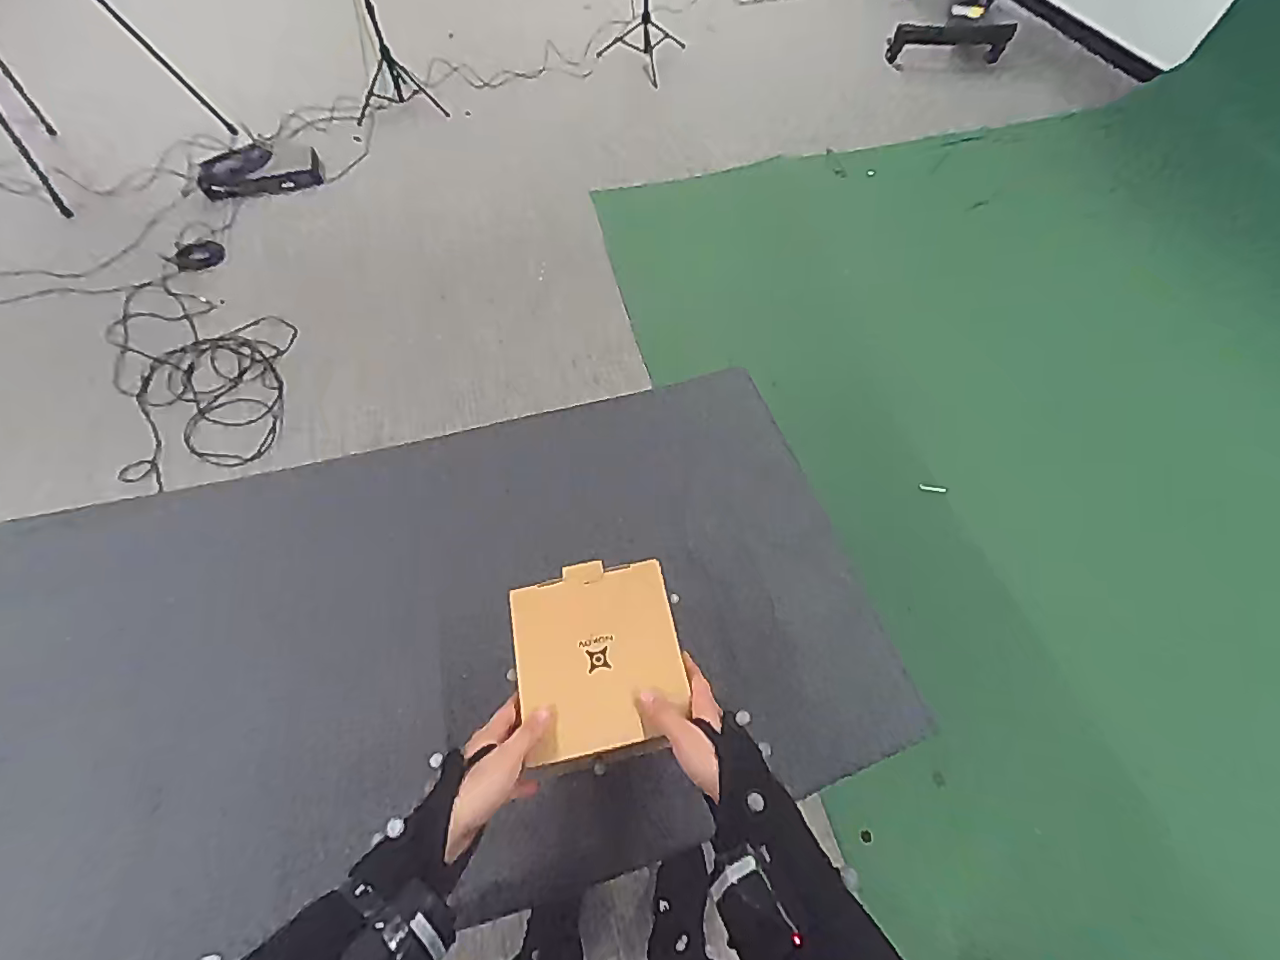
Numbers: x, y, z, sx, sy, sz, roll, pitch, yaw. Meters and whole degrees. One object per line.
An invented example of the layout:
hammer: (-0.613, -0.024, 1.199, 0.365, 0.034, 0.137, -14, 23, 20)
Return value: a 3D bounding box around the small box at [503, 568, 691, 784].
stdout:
small box: (-0.044, 0.223, 0.599, 0.168, 0.176, 0.179, -12, 59, -5)
